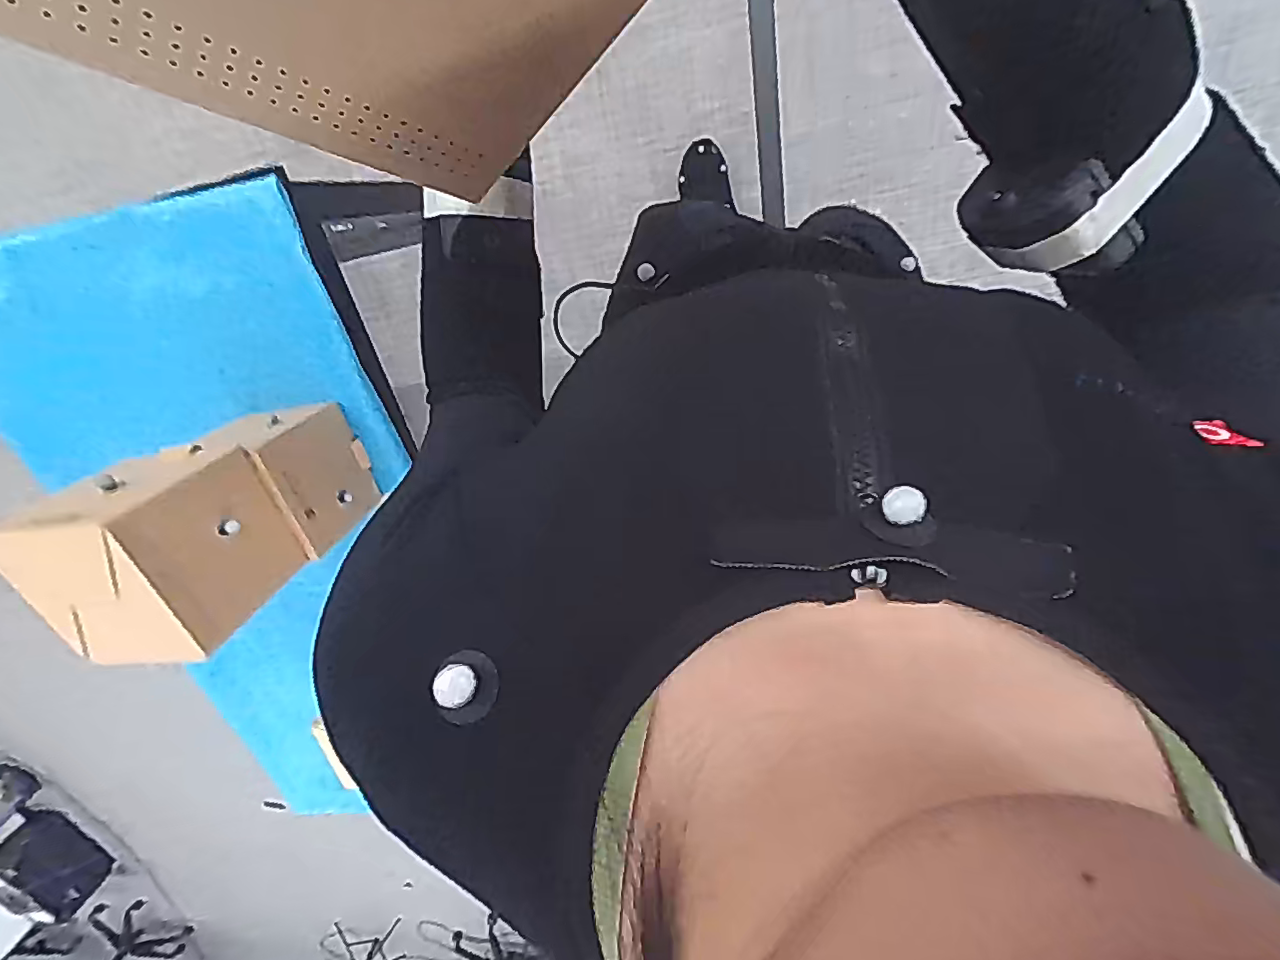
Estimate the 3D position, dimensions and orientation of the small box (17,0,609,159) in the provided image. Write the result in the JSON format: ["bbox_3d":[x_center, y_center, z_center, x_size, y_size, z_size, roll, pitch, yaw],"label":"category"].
[{"bbox_3d":[-0.095,-0.230,0.146,0.176,0.179,0.168,-20,79,42],"label":"small box"}]

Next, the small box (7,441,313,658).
[{"bbox_3d":[-0.533,0.077,0.616,0.168,0.176,0.179,-5,120,12],"label":"small box"}]

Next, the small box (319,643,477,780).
[{"bbox_3d":[-0.425,0.415,0.972,0.179,0.176,0.168,-3,117,9],"label":"small box"}]

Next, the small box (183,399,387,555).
[{"bbox_3d":[-0.506,0.003,0.760,0.179,0.176,0.168,-7,117,12],"label":"small box"}]
